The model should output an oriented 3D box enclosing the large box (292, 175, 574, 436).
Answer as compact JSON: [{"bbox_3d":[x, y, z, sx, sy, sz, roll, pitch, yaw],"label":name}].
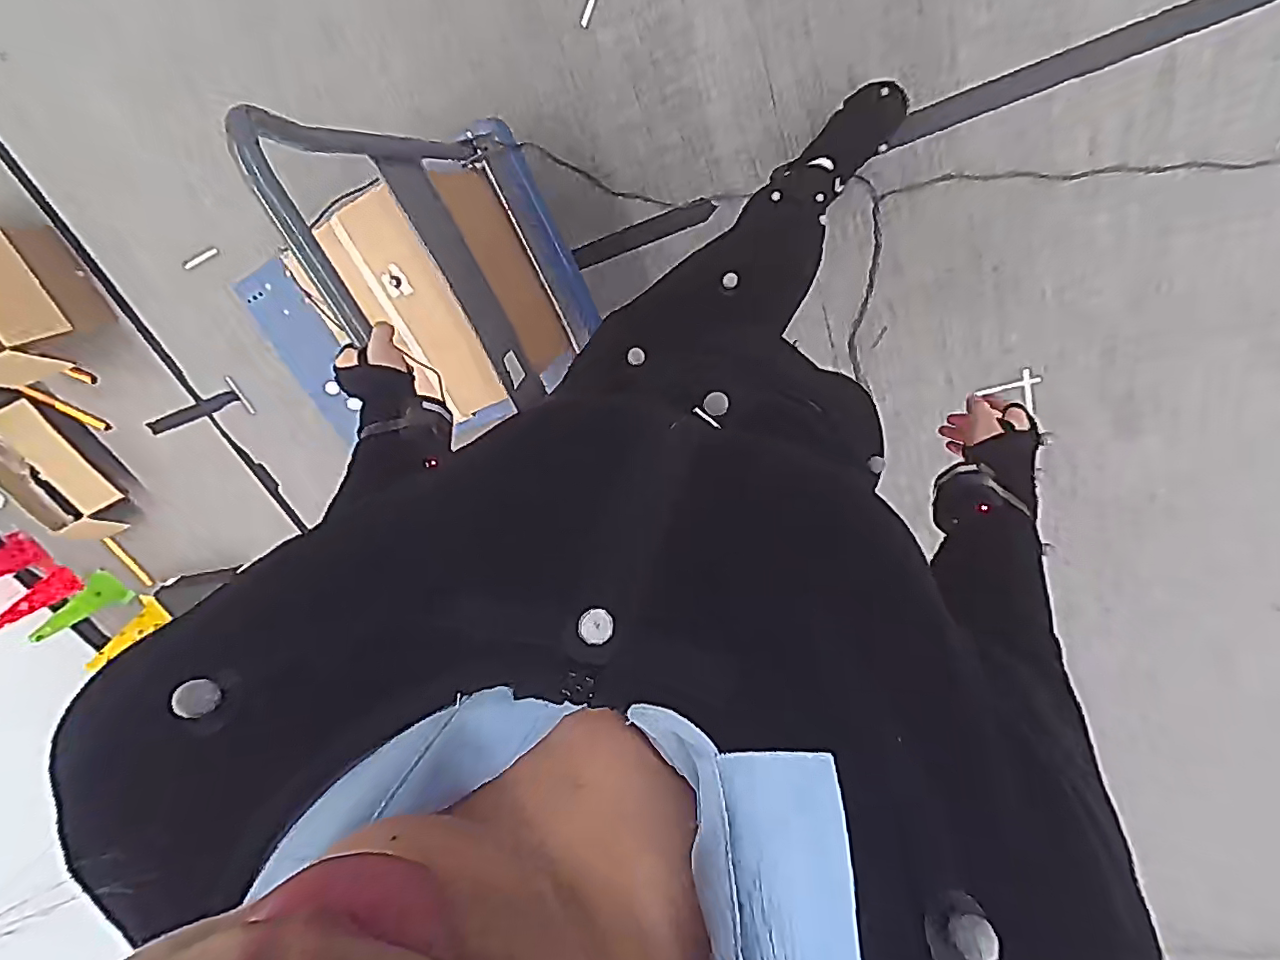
[{"bbox_3d":[-0.401,-0.368,1.147,0.320,0.320,0.408,-17,114,23],"label":"large box"}]
